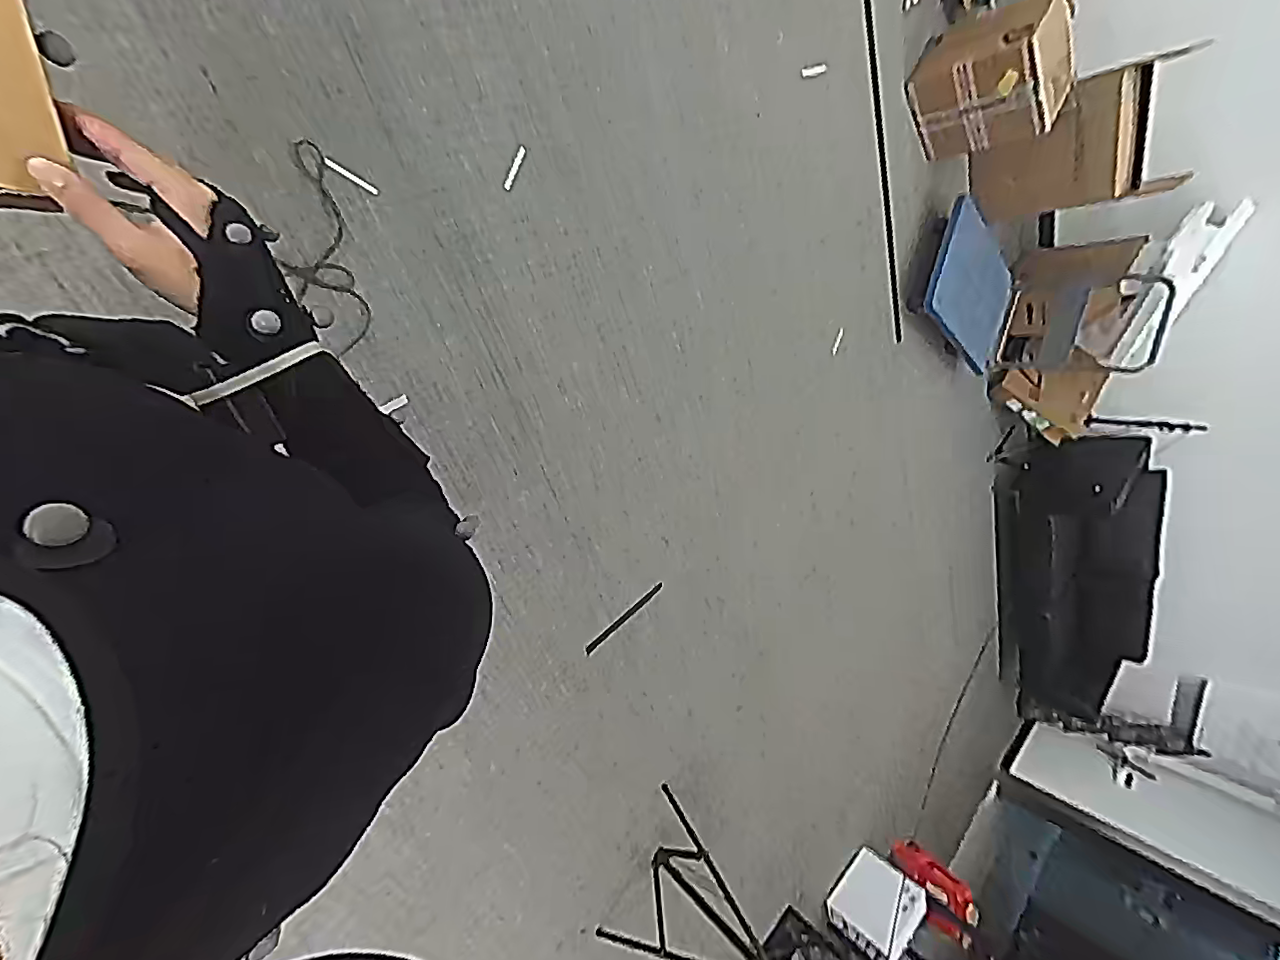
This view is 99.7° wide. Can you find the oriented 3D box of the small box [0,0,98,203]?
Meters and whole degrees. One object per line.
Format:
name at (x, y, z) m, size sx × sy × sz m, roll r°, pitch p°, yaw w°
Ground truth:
small box at (-0.412, -0.244, 0.263) m, size 0.168 × 0.176 × 0.179 m, roll -20°, pitch 121°, yaw -45°
